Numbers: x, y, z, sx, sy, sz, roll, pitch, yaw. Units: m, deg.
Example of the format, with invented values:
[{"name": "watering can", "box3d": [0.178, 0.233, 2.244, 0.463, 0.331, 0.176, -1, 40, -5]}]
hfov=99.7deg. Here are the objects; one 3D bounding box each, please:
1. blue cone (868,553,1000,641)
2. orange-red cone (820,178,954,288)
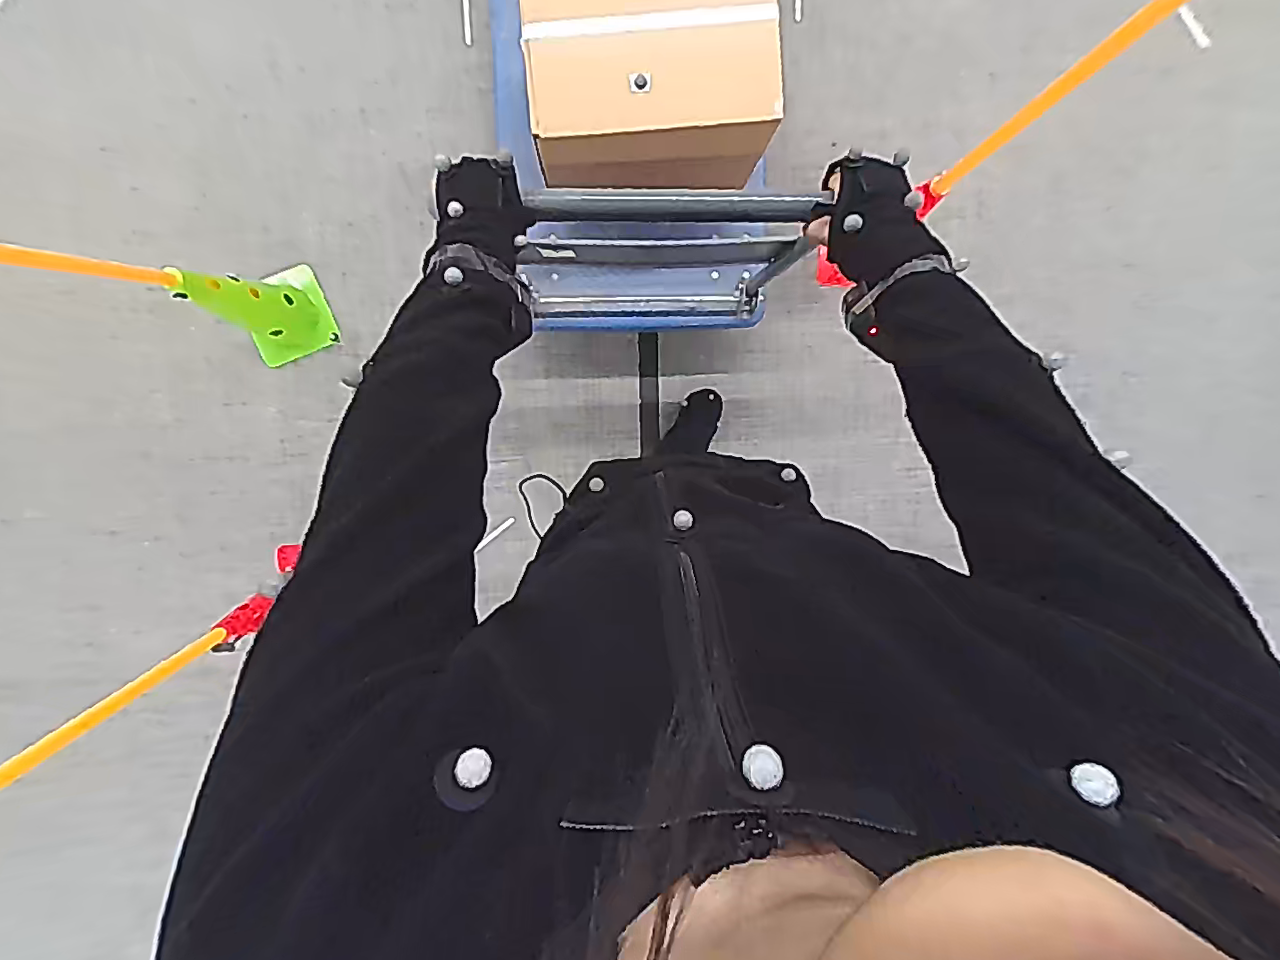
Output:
[{"name": "blue cone", "box3d": [0.729, 0.314, 1.311, 0.193, 0.380, 0.192, -6, 95, -2]}, {"name": "orange-red cone", "box3d": [0.573, -0.577, 1.200, 0.199, 0.360, 0.198, 4, 96, -4]}]
